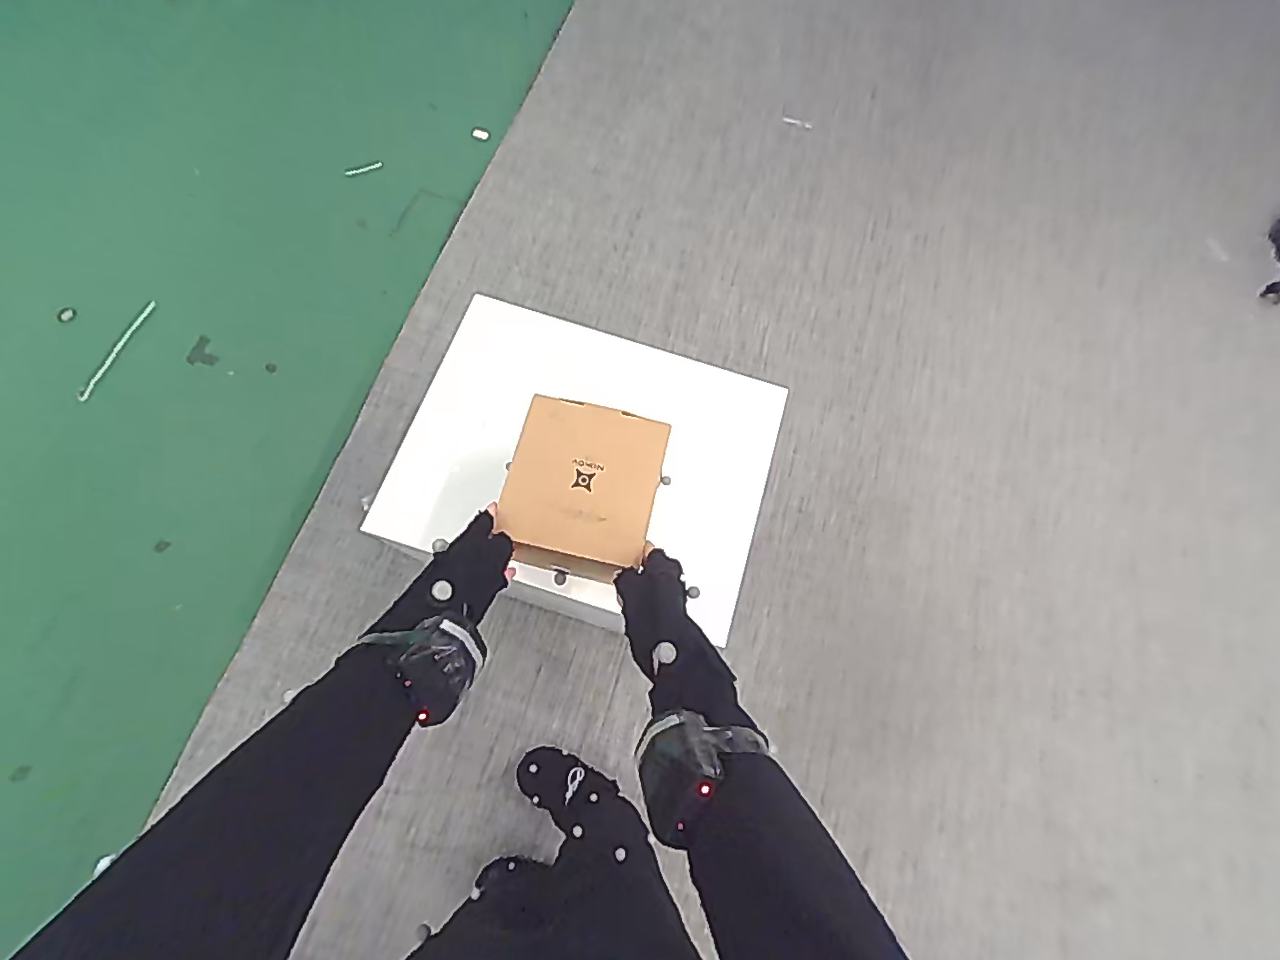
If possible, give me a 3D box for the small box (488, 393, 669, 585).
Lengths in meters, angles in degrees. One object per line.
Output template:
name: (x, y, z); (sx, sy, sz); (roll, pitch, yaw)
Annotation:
small box: (-0.067, 0.021, 0.665); (0.168, 0.176, 0.179); (12, 73, 2)
